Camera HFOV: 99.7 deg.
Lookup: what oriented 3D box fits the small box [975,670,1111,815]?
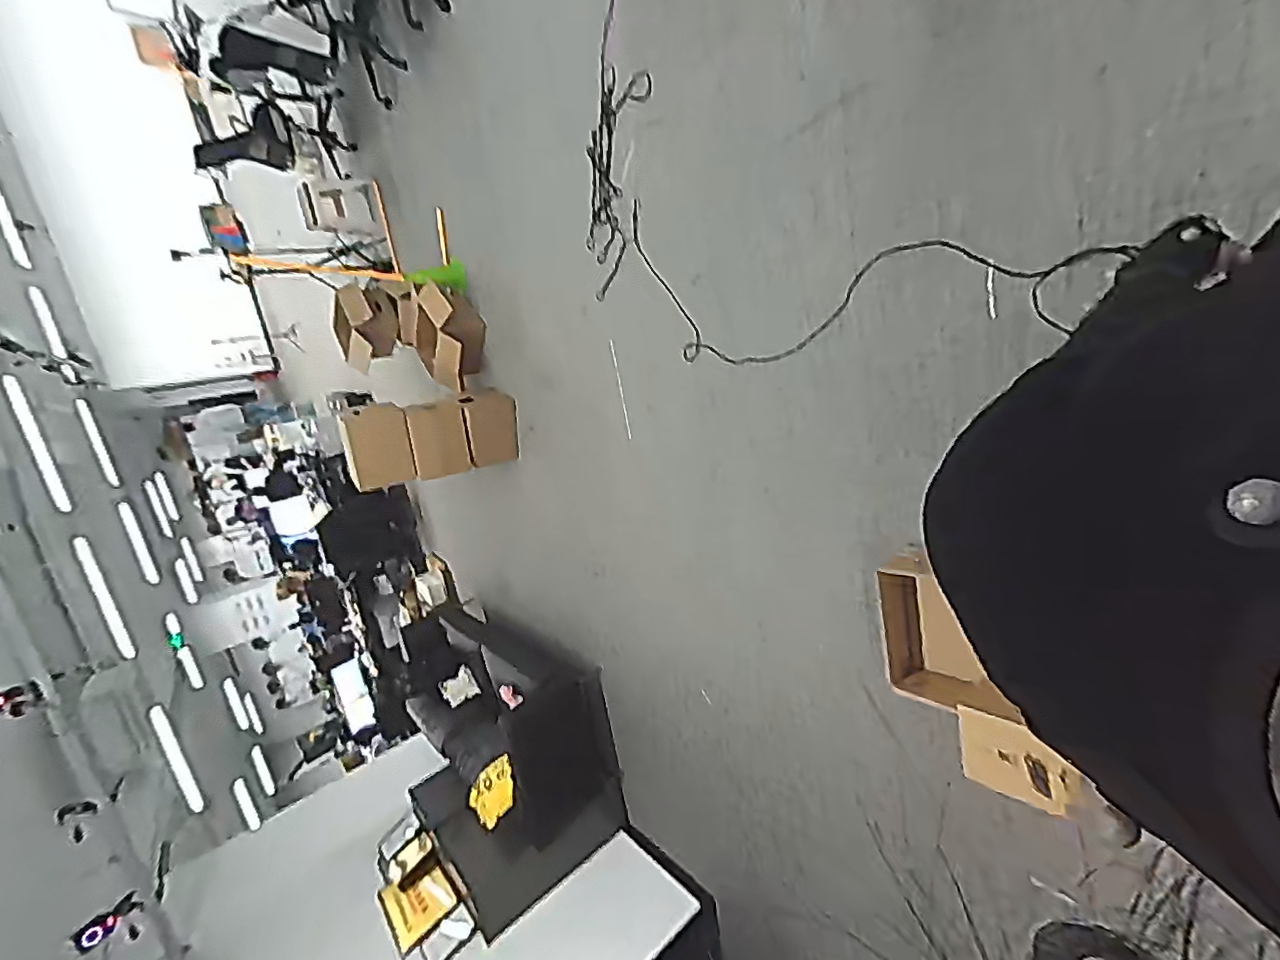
[{"bbox_3d":[0.798,0.502,1.067,0.179,0.176,0.168,1,105,55],"label":"small box"}]
